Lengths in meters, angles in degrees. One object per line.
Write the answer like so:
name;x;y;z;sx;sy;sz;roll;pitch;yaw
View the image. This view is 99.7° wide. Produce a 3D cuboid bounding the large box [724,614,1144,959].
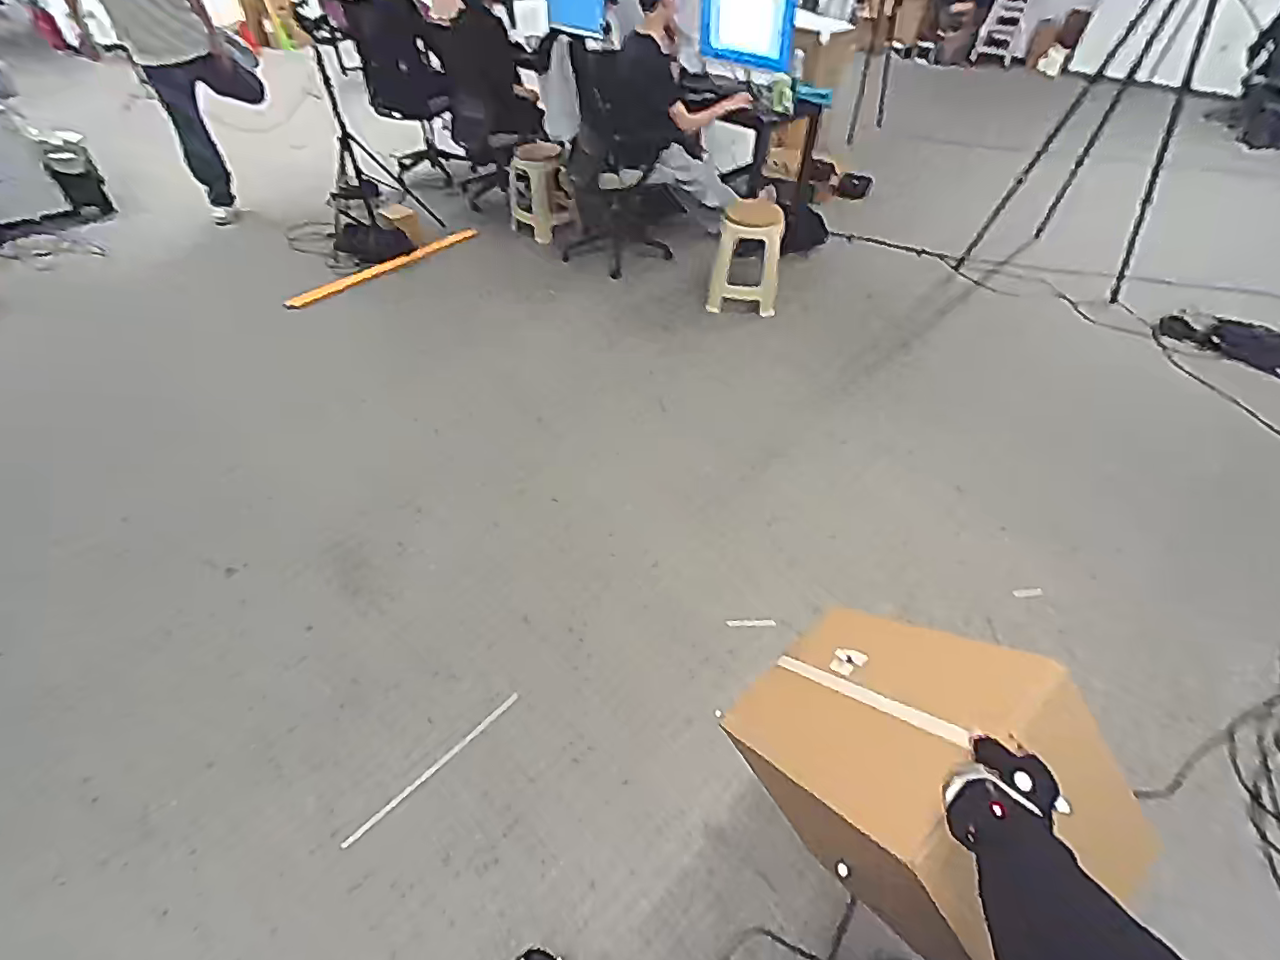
large box;0.411;0.452;0.826;0.320;0.408;0.320;-36;99;-19
